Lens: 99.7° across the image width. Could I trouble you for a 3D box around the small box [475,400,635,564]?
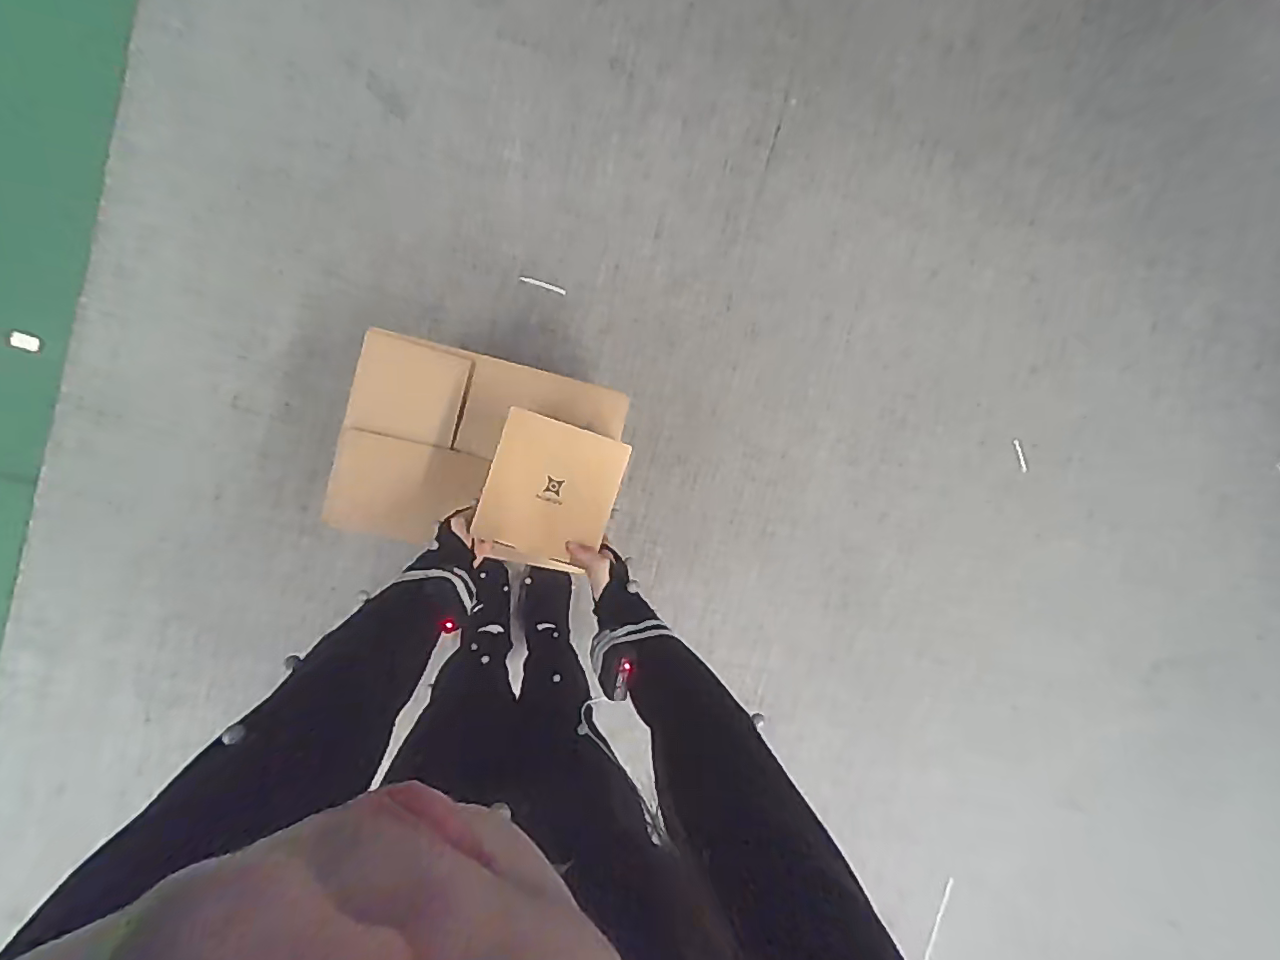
[{"bbox_3d":[-0.121,-0.002,0.774,0.168,0.176,0.179,18,92,-9],"label":"small box"}]
